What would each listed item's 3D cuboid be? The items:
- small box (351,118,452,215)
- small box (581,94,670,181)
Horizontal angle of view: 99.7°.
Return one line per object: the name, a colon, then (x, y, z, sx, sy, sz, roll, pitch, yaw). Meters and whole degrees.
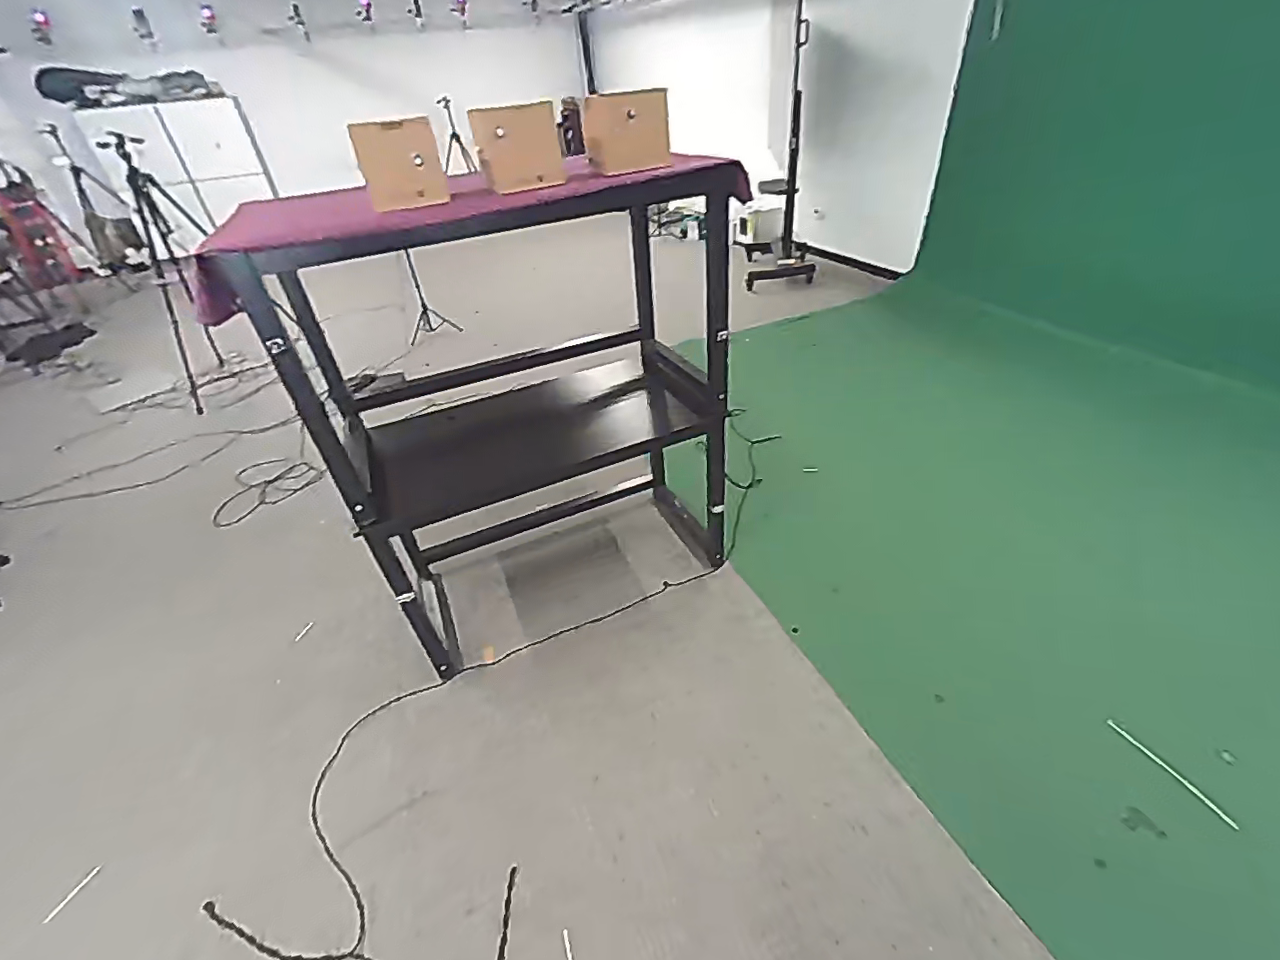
small box: (-0.535, -0.709, 1.224, 0.168, 0.176, 0.179, -17, 37, -16)
small box: (-0.034, -0.876, 1.386, 0.179, 0.176, 0.168, -18, 37, -17)
